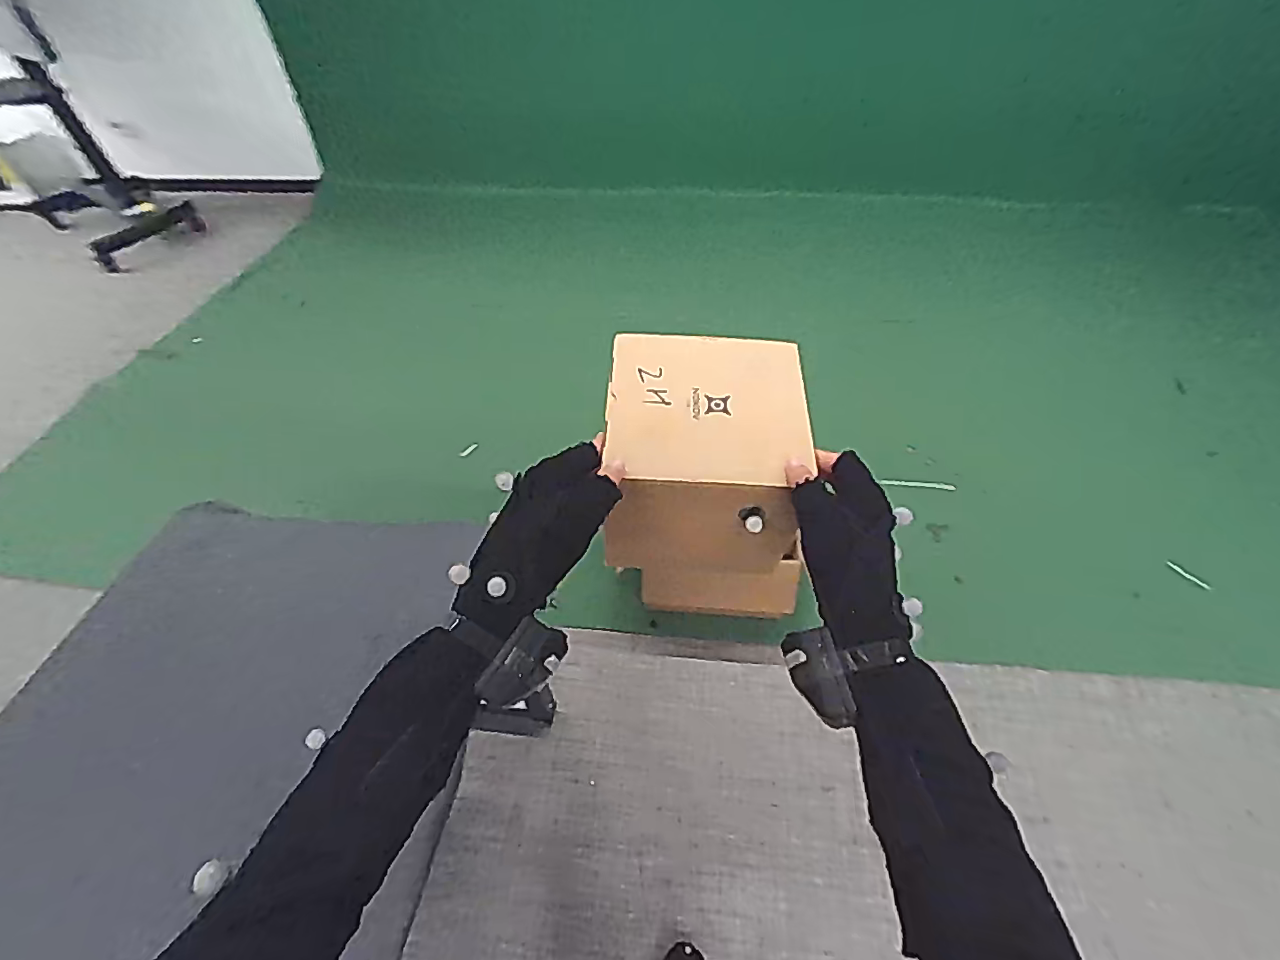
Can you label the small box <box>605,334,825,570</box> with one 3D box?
[{"bbox_3d":[0.063,-0.020,0.533,0.179,0.176,0.168,3,56,1],"label":"small box"}]
